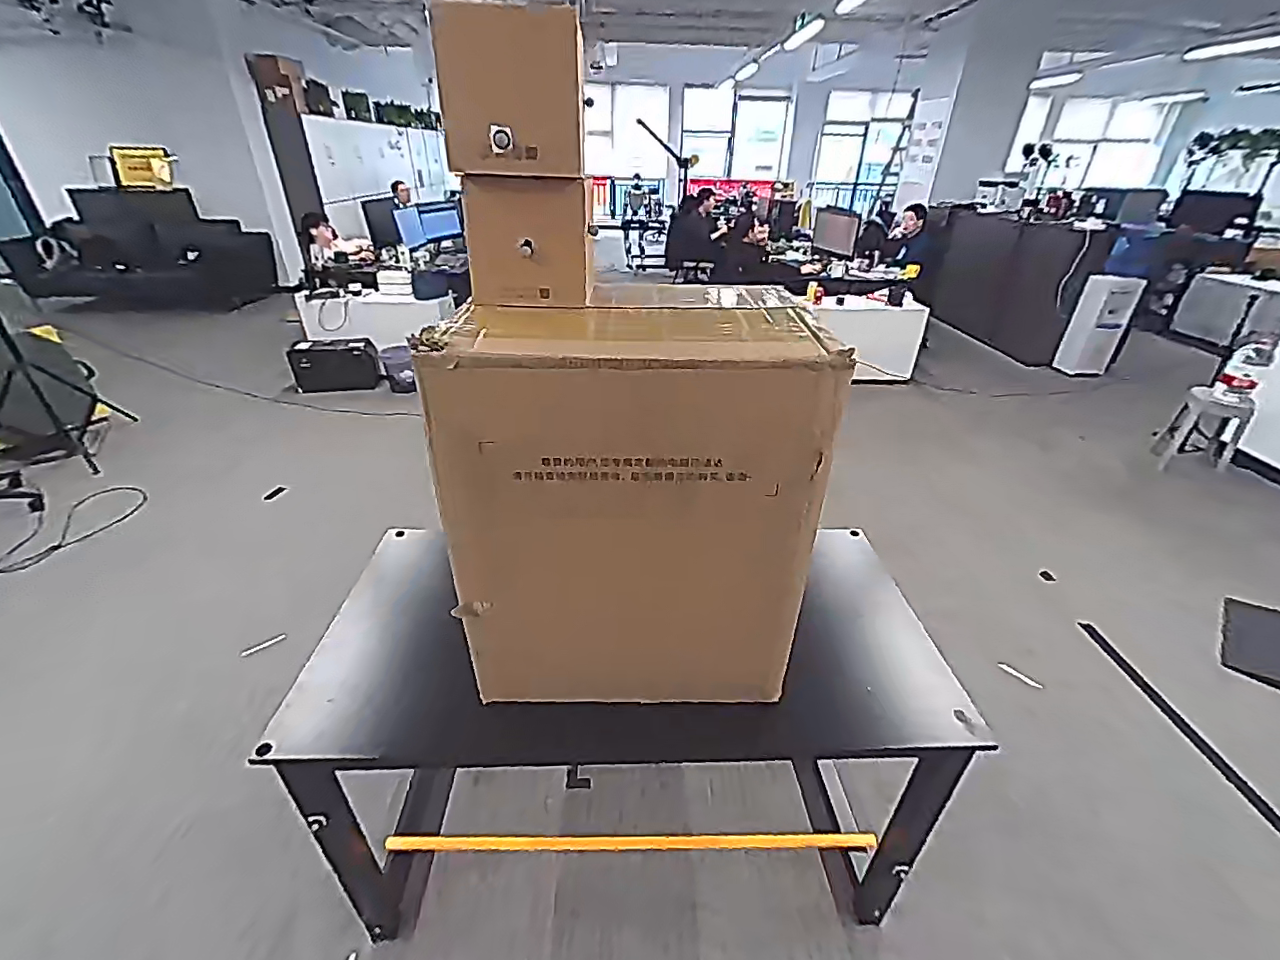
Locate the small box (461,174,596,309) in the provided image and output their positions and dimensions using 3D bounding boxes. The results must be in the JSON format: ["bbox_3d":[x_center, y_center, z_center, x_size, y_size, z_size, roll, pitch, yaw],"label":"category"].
[{"bbox_3d":[-0.153,-0.360,0.810,0.168,0.176,0.179,1,31,-2],"label":"small box"}]

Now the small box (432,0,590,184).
[{"bbox_3d":[-0.152,-0.484,0.698,0.168,0.176,0.179,-1,31,-4],"label":"small box"}]
